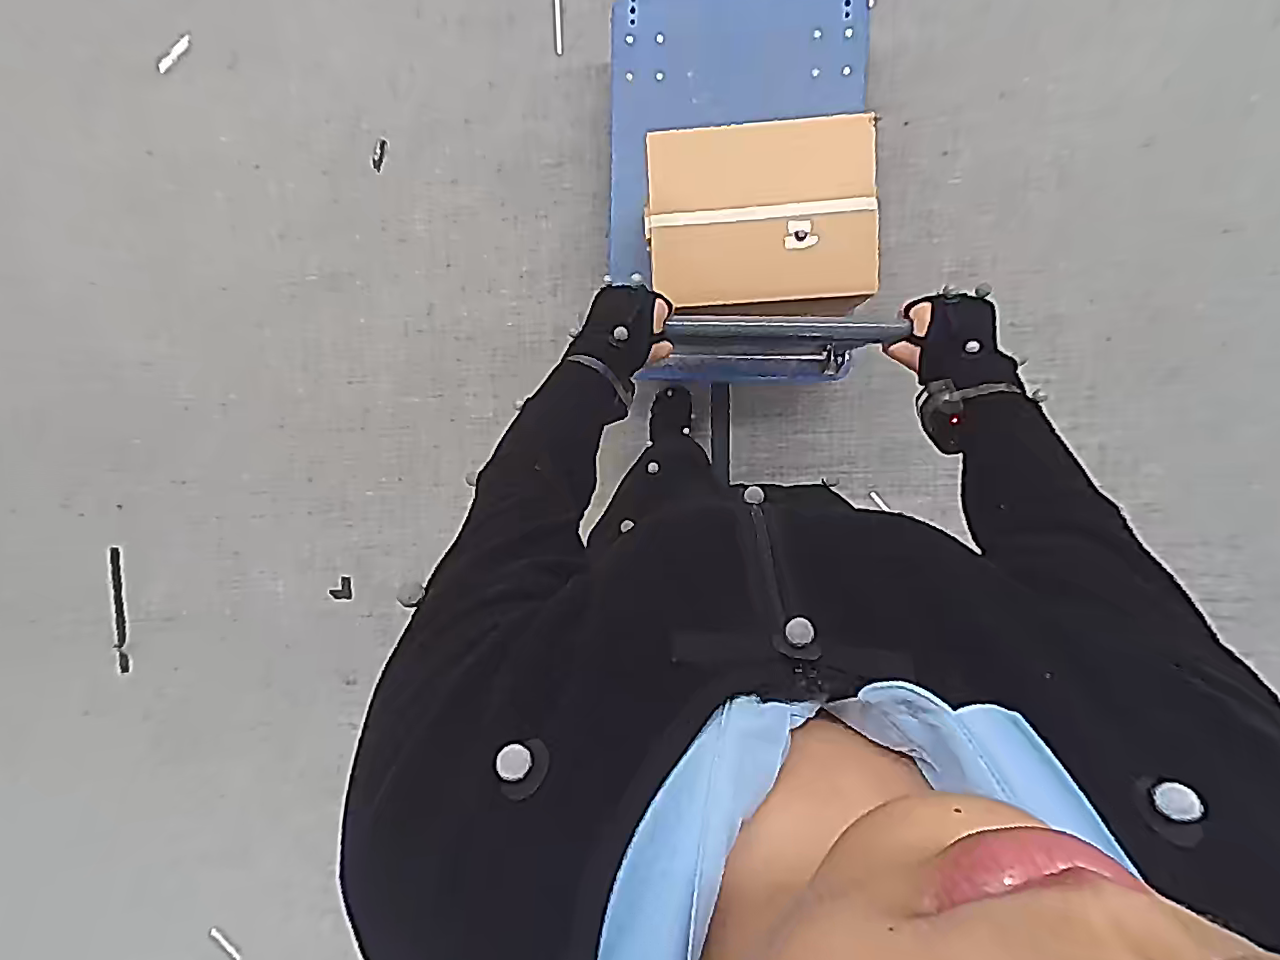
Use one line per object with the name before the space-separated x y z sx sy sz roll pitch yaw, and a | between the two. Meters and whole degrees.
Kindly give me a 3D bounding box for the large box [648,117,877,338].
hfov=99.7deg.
large box | 0.229 -0.492 1.129 0.408 0.320 0.320 -3 95 3
